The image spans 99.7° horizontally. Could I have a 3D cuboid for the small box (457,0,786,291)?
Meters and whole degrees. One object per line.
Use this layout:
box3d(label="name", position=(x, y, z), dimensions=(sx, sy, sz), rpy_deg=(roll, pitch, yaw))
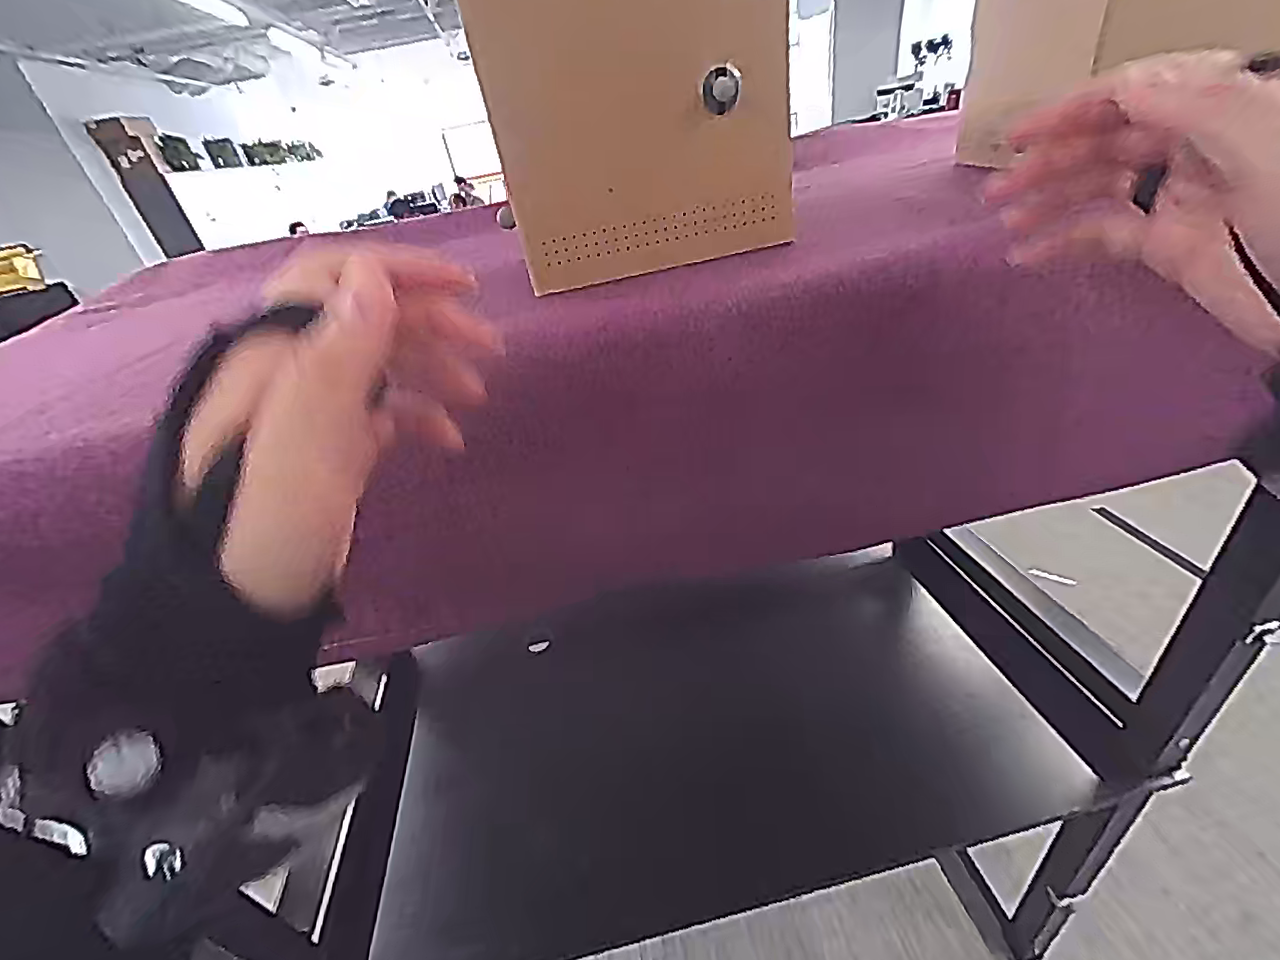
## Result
box3d(label="small box", position=(-0.009, -0.246, 0.373), dimensions=(0.179, 0.176, 0.168), rpy_deg=(-14, 32, -3))

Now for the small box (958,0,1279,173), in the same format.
box3d(label="small box", position=(0.364, -0.335, 0.387), dimensions=(0.179, 0.176, 0.168), rpy_deg=(-8, 32, 5))
